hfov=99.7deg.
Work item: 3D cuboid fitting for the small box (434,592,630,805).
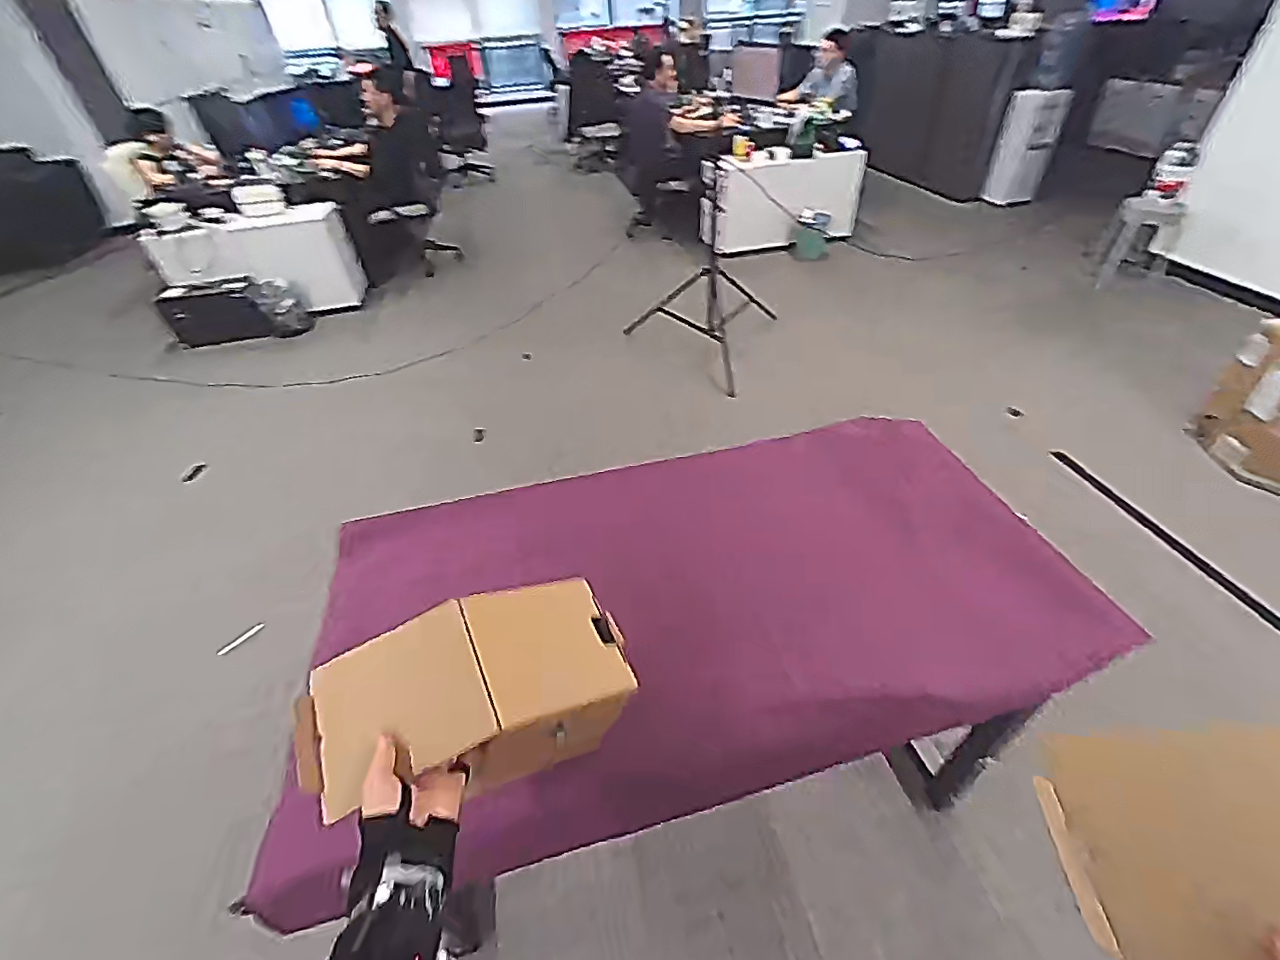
[{"bbox_3d":[-0.145,0.265,0.671,0.179,0.176,0.168,0,43,-37],"label":"small box"}]
